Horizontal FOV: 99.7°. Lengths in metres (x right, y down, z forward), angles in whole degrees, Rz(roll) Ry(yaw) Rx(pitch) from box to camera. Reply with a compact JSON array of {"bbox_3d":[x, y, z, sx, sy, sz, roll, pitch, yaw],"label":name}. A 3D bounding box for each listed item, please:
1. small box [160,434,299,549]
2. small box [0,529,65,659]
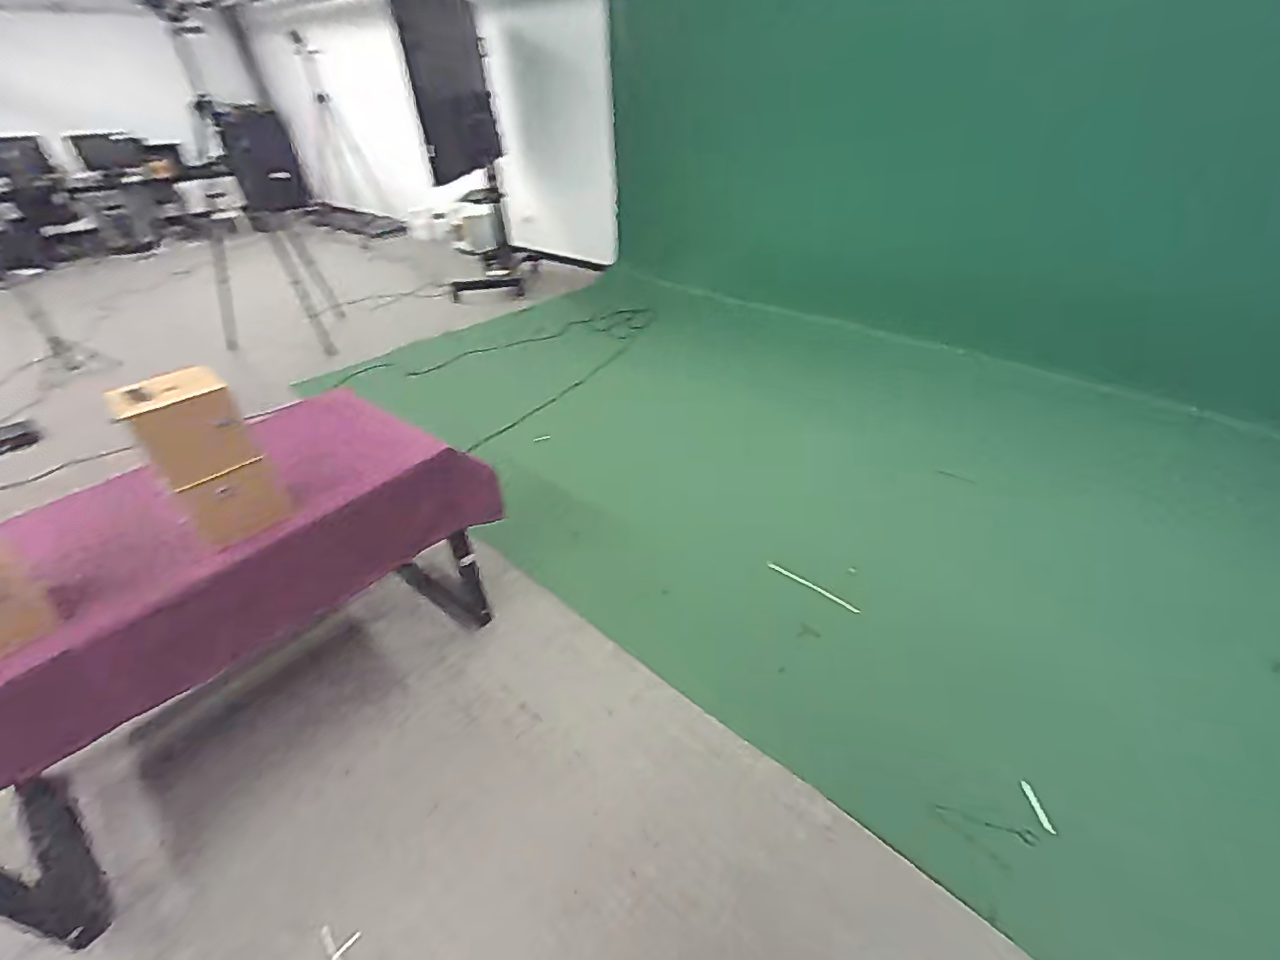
[{"bbox_3d":[-0.923,0.026,1.226,0.168,0.176,0.179,26,45,33],"label":"small box"},{"bbox_3d":[-1.199,0.223,0.973,0.168,0.176,0.179,23,43,32],"label":"small box"}]
